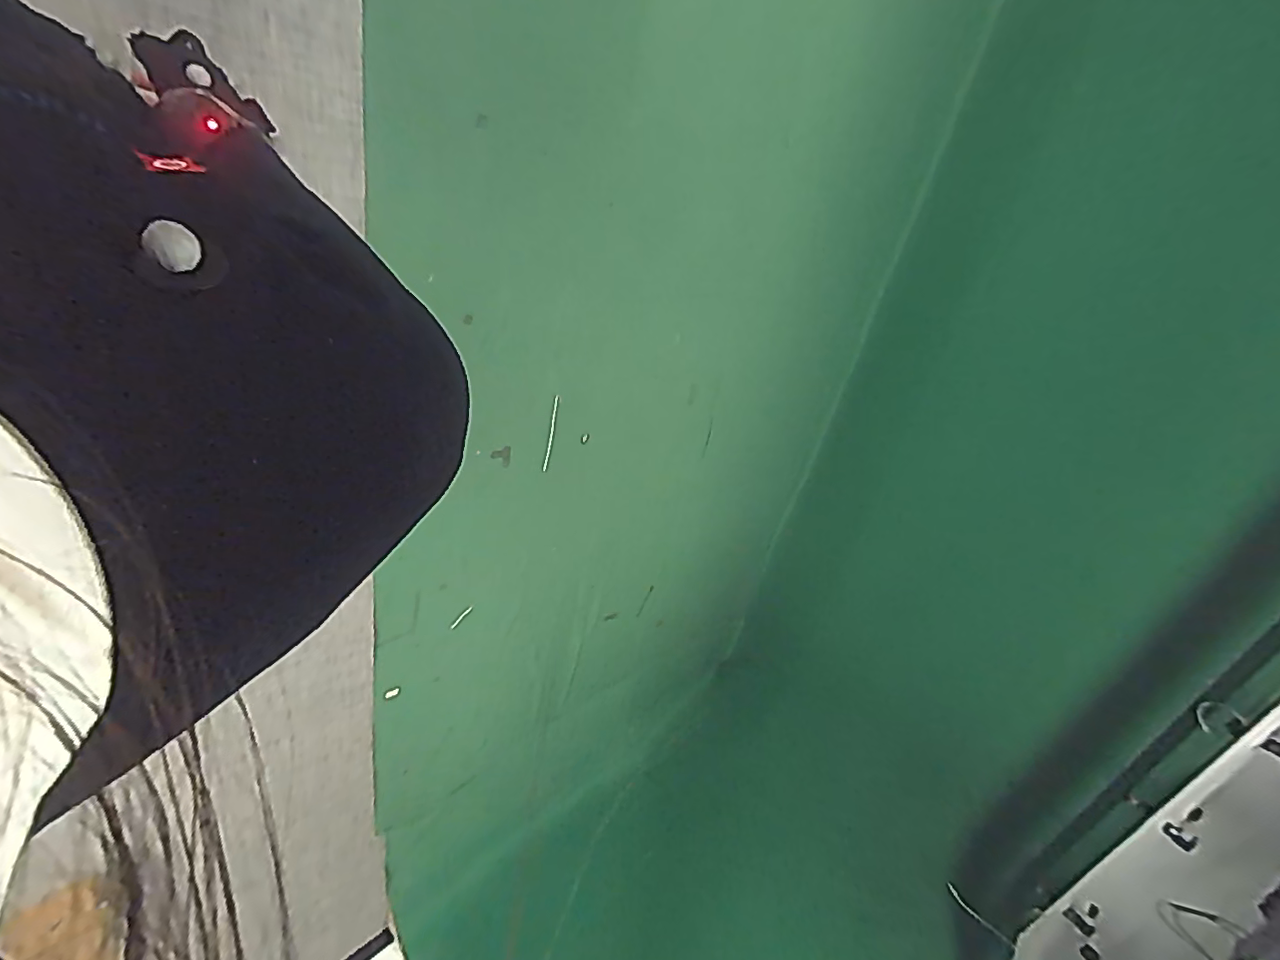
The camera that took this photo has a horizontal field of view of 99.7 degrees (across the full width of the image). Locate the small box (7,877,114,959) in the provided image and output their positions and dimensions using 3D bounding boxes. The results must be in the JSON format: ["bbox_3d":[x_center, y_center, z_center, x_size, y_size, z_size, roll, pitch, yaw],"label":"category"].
[{"bbox_3d":[-1.617,1.274,1.508,0.179,0.176,0.168,-18,131,-45],"label":"small box"}]

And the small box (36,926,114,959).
[{"bbox_3d":[-1.501,1.340,1.414,0.179,0.176,0.168,-15,129,-45],"label":"small box"}]
